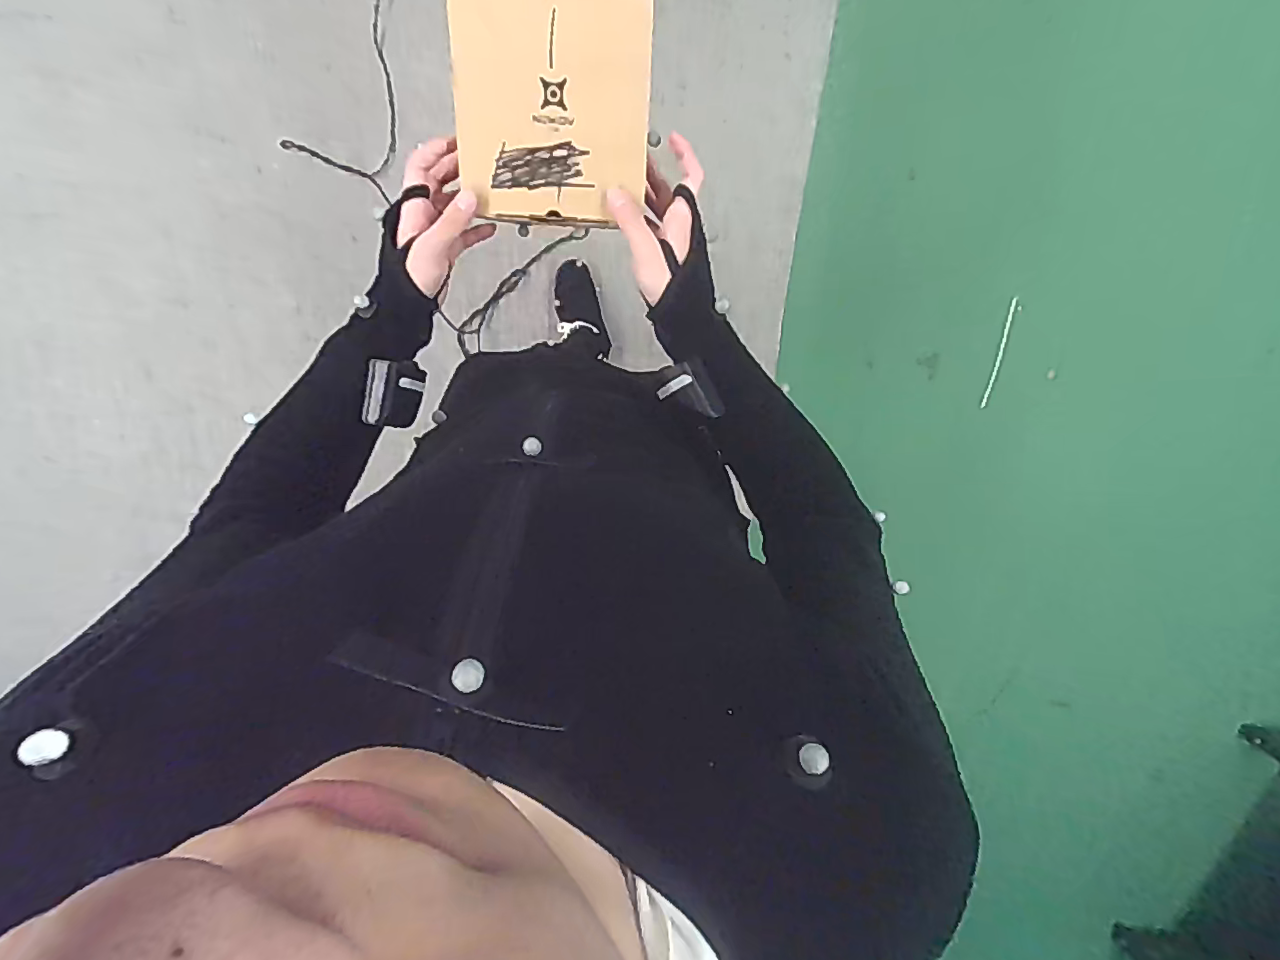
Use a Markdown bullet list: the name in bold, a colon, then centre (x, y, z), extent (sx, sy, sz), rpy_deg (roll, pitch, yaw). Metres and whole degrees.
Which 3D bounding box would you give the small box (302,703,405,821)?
- **small box**: centre (-0.687, 0.678, 1.311), extent (0.168, 0.176, 0.179), rpy_deg (11, 106, -6)

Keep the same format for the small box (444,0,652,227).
- **small box**: centre (-0.077, -0.347, 0.522), extent (0.168, 0.176, 0.179), rpy_deg (2, 112, -3)
